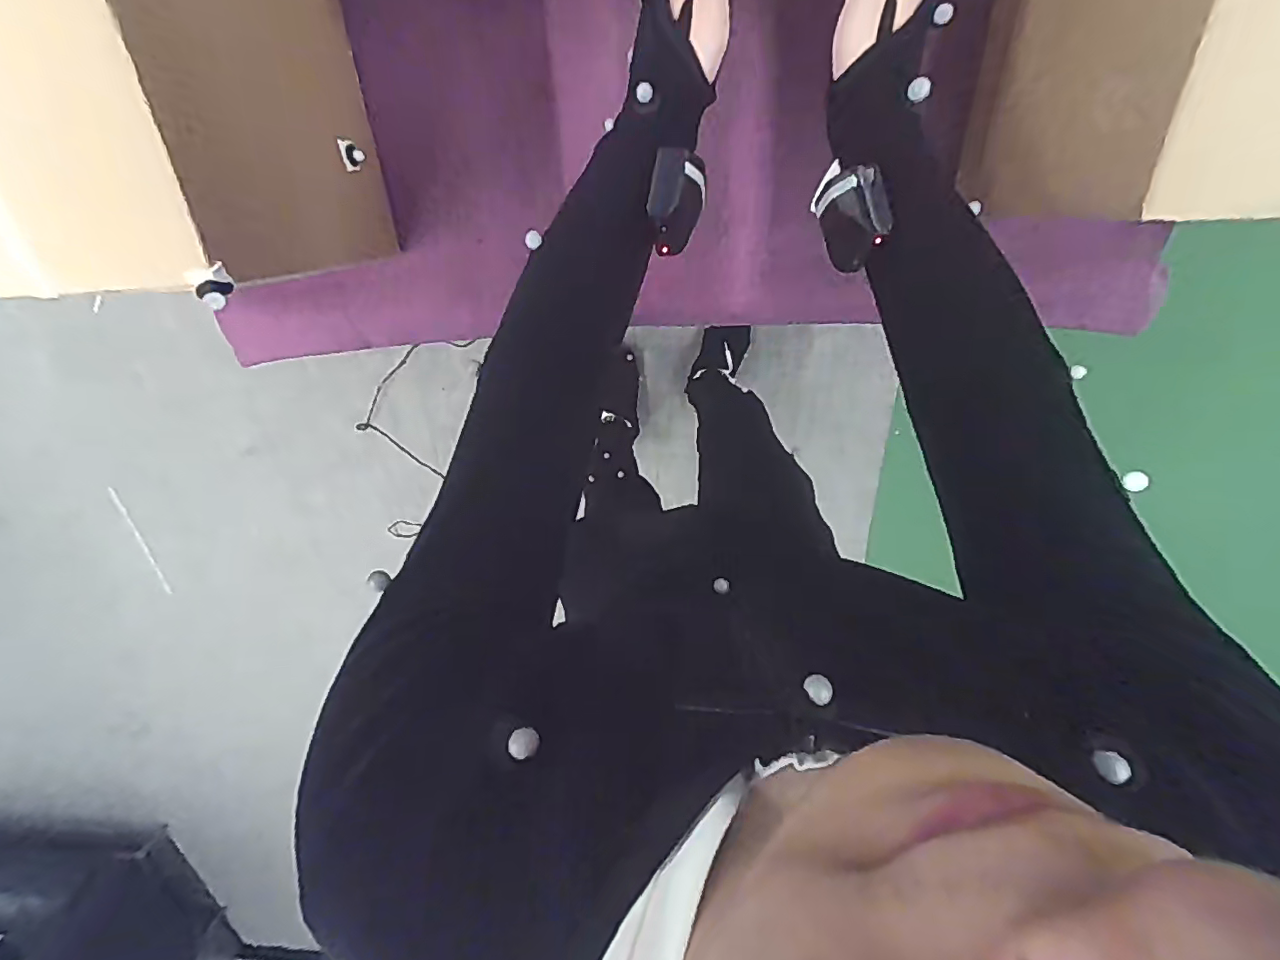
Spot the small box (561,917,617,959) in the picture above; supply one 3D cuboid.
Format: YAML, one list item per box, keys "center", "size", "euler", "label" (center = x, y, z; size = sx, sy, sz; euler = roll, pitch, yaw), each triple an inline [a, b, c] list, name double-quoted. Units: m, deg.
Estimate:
- center: [-0.183, 1.721, 1.961]
  size: [0.179, 0.176, 0.168]
  euler: [-6, 117, 9]
  label: "small box"
